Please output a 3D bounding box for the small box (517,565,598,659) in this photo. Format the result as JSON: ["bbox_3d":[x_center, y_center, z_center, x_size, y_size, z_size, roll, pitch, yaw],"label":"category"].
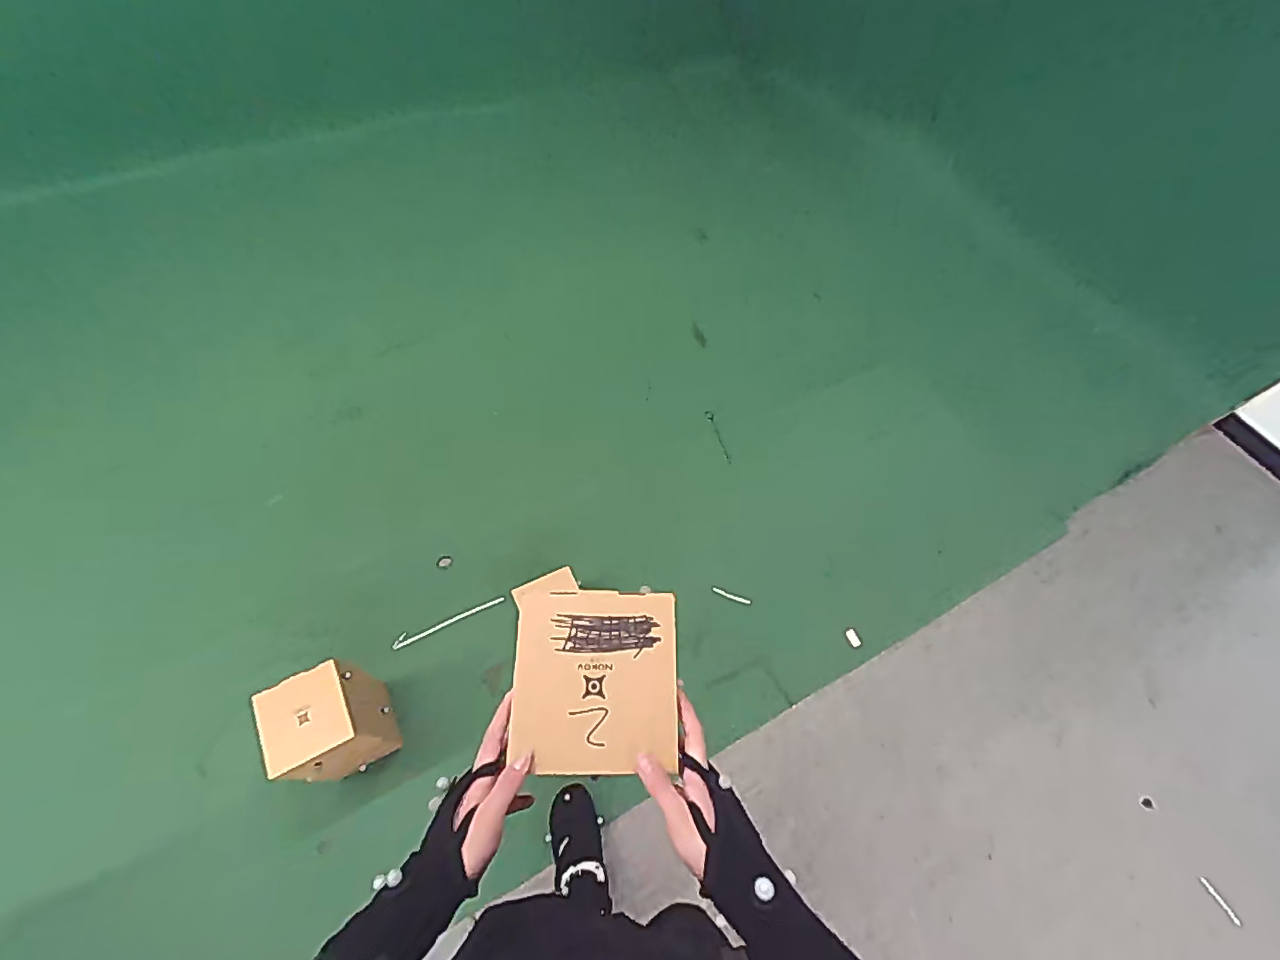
[{"bbox_3d":[-0.225,0.365,1.480,0.168,0.176,0.179,-22,66,-16],"label":"small box"}]

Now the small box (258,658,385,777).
[{"bbox_3d":[-0.683,0.516,1.175,0.168,0.176,0.179,-24,65,-16],"label":"small box"}]

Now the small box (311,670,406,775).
[{"bbox_3d":[-0.696,0.594,1.316,0.168,0.176,0.179,-24,66,-16],"label":"small box"}]
